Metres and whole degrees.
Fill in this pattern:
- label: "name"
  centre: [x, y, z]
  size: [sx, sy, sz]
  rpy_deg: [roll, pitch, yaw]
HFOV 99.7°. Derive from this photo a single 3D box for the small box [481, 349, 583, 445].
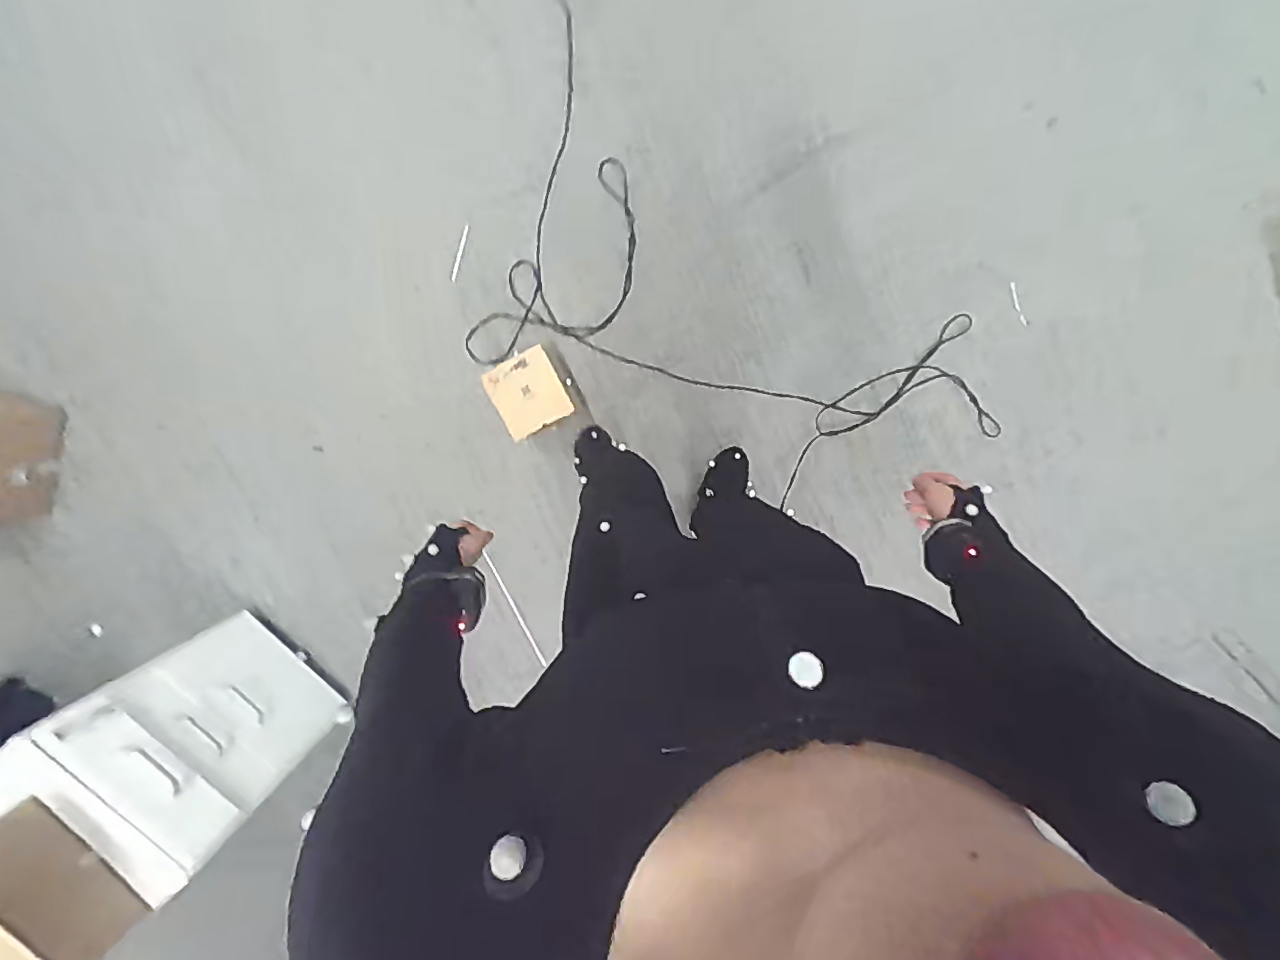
- label: "small box"
  centre: [-0.256, -0.208, 1.335]
  size: [0.168, 0.176, 0.179]
  rpy_deg: [-27, 99, 6]
